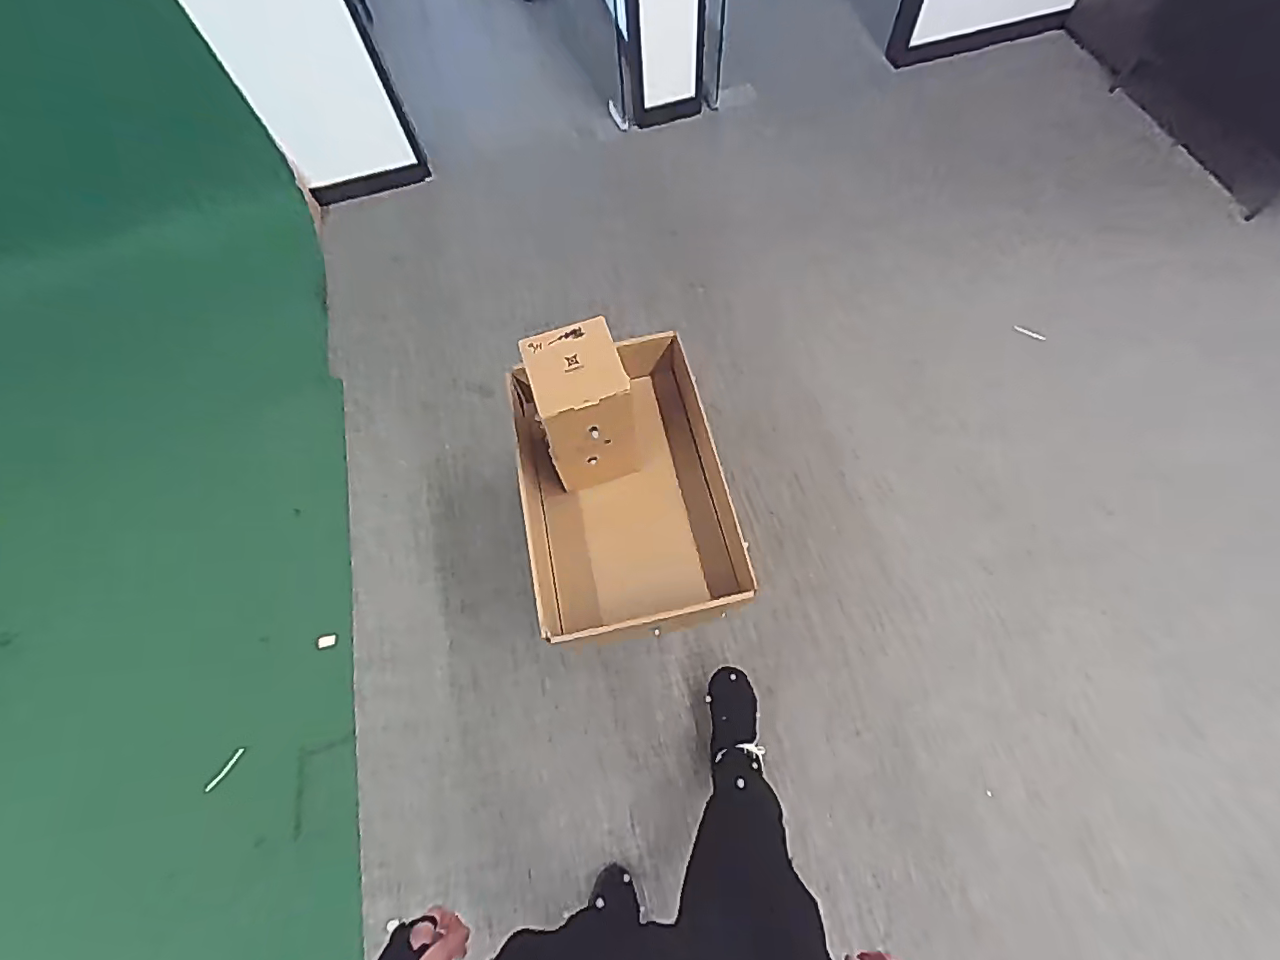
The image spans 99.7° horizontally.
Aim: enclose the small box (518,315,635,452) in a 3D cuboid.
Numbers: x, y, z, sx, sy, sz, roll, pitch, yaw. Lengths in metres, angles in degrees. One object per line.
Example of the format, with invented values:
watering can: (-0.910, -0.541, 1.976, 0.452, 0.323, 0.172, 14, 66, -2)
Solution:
small box: (-0.112, -0.170, 1.014, 0.168, 0.176, 0.179, -18, 67, -4)
